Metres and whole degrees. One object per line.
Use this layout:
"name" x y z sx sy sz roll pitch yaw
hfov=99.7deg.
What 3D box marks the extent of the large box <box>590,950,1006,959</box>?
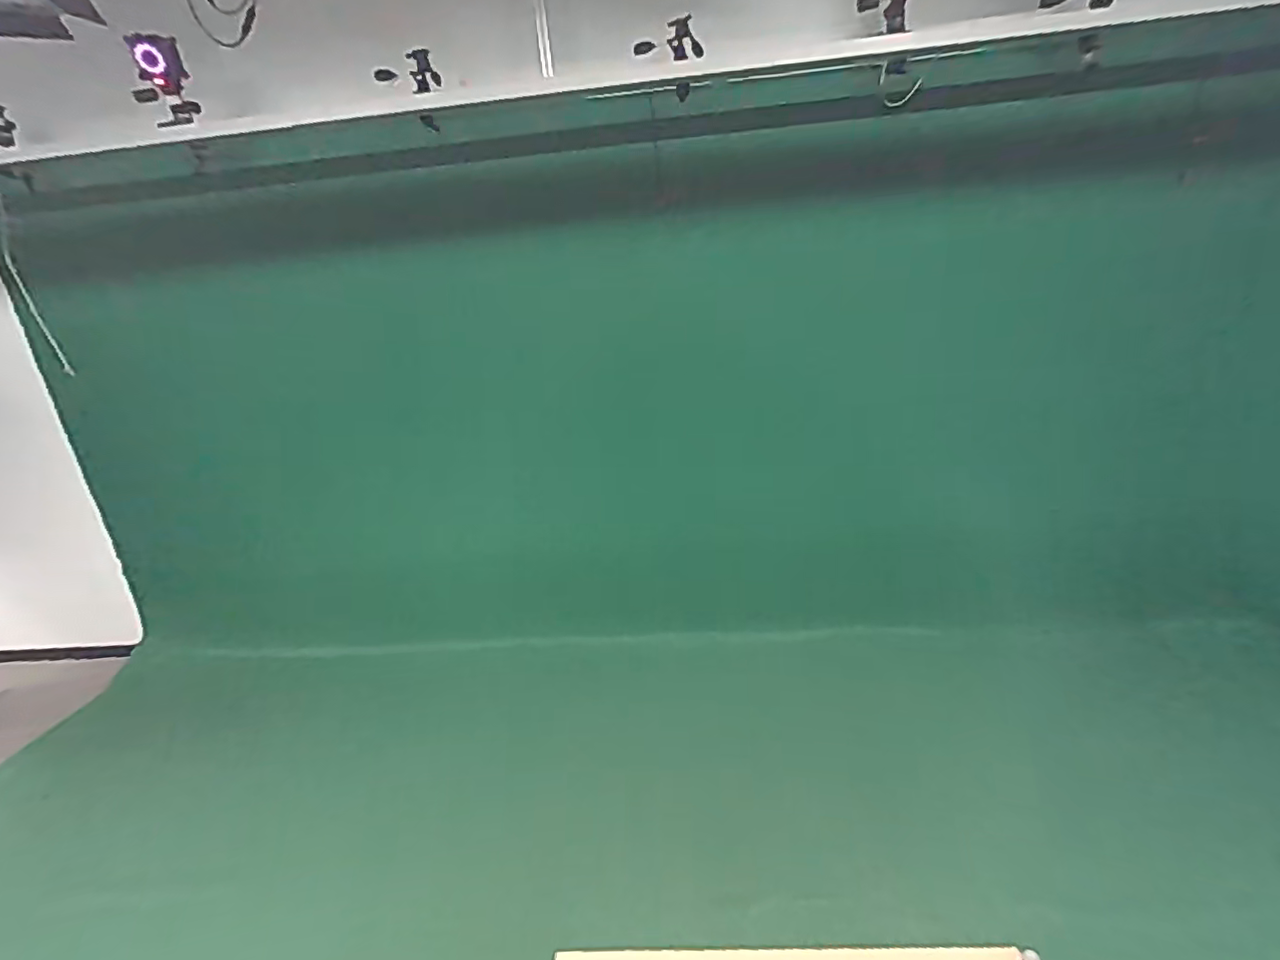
"large box" 0.132 0.632 0.425 0.408 0.320 0.320 -3 31 3
